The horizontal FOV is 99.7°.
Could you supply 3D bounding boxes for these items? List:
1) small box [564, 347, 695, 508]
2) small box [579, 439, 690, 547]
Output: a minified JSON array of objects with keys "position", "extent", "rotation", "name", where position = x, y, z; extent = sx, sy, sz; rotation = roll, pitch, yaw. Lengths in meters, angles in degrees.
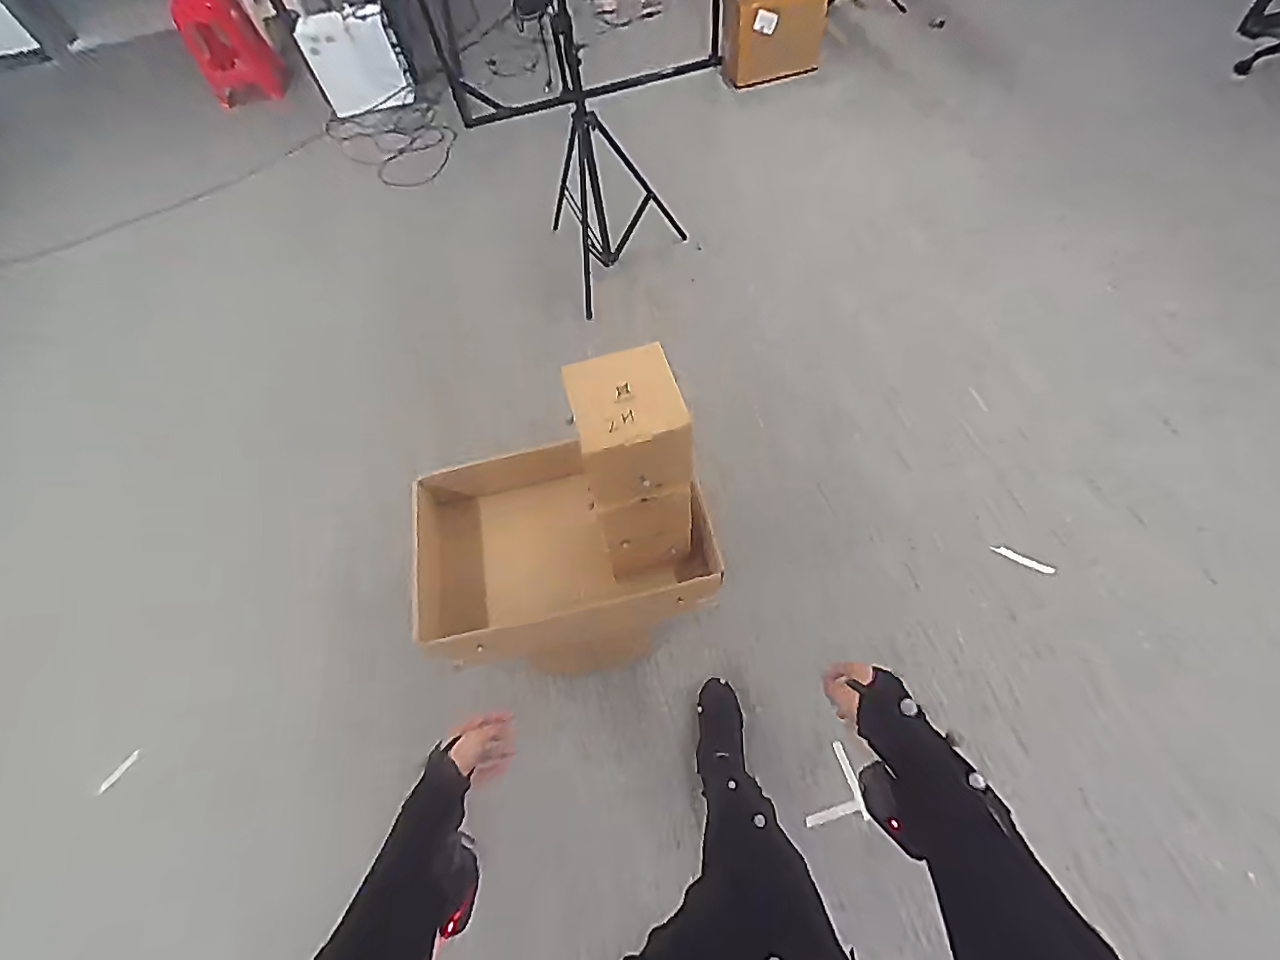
[{"position":[-0.015,-0.081,0.878],"extent":[0.168,0.176,0.179],"rotation":[-16,61,-3],"name":"small box"},{"position":[-0.005,0.012,1.015],"extent":[0.168,0.176,0.179],"rotation":[-16,60,-3],"name":"small box"}]
